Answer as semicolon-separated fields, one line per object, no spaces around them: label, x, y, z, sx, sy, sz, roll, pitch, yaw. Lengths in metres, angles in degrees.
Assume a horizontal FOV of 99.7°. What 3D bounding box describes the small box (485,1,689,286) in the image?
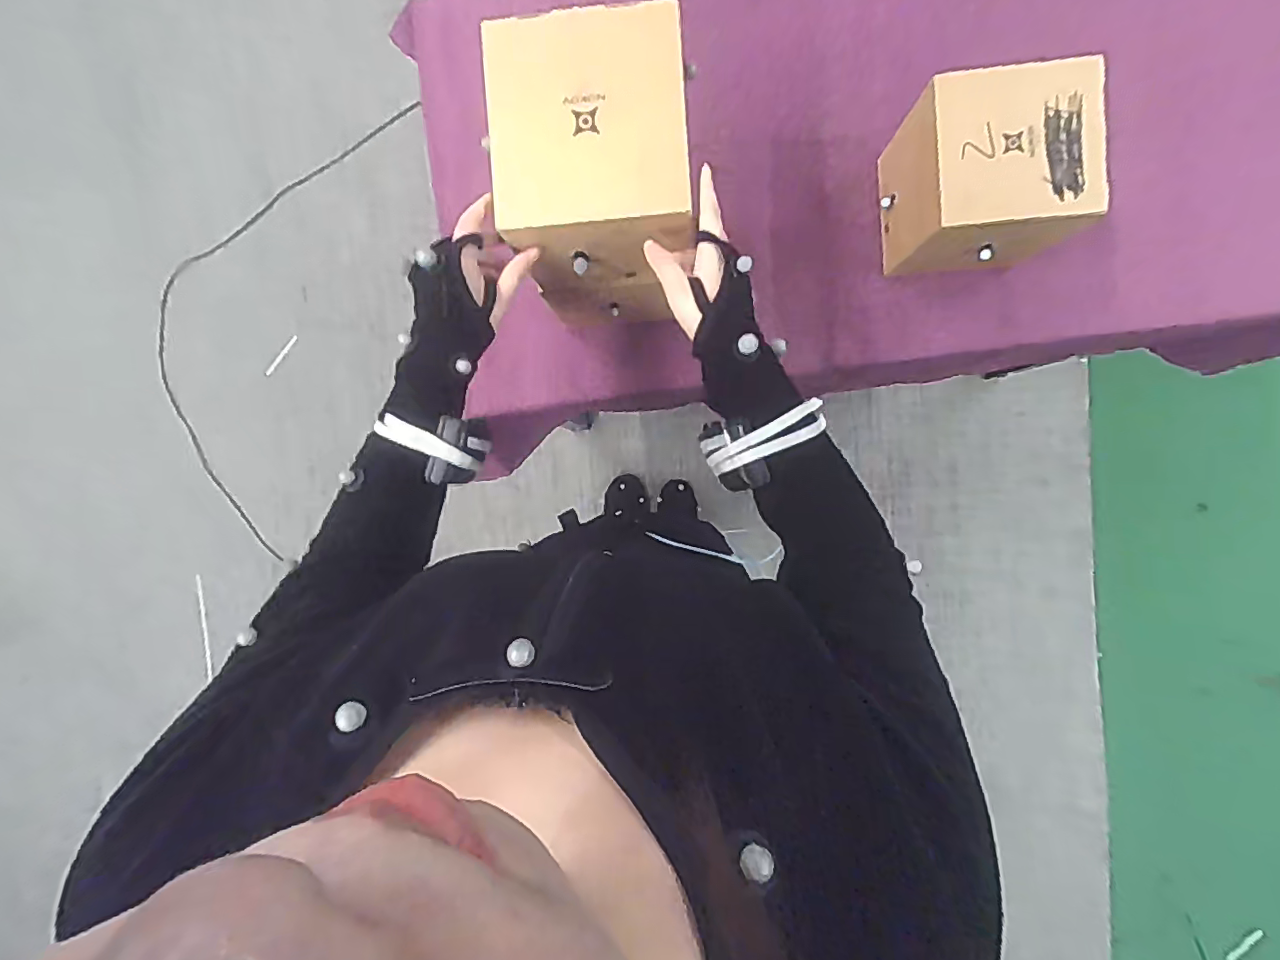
small box;-0.038;-0.301;0.527;0.168;0.176;0.179;-4;91;3

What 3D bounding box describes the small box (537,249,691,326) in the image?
small box;-0.032;-0.303;0.689;0.179;0.176;0.168;-5;91;4
